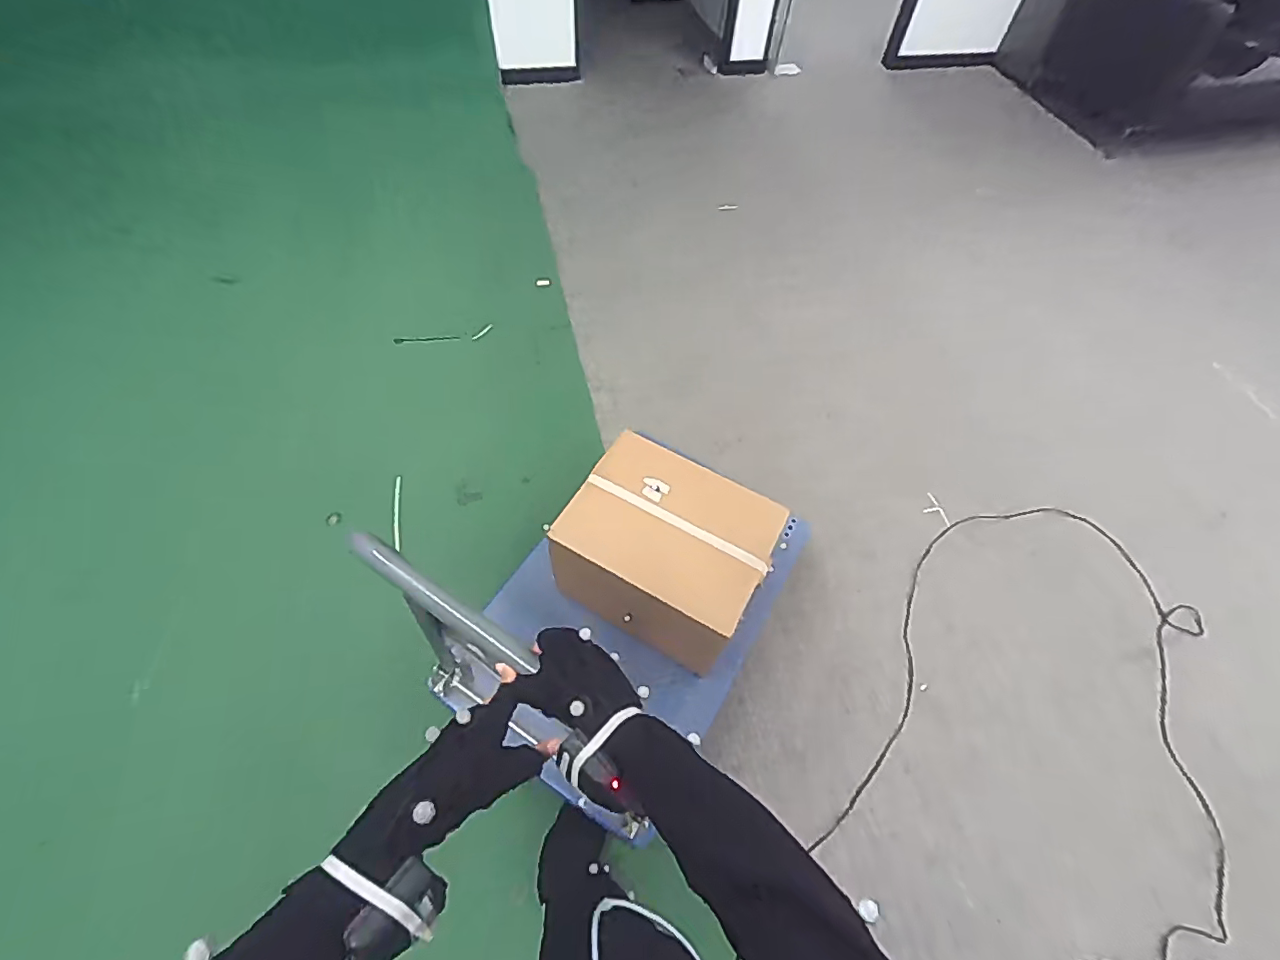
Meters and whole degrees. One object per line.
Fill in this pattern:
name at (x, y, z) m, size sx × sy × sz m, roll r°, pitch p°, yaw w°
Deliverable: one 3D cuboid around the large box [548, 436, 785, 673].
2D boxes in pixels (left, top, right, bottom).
large box at (0.056, 0.173, 1.223) m, size 0.408 × 0.320 × 0.320 m, roll 27°, pitch 59°, yaw 13°
